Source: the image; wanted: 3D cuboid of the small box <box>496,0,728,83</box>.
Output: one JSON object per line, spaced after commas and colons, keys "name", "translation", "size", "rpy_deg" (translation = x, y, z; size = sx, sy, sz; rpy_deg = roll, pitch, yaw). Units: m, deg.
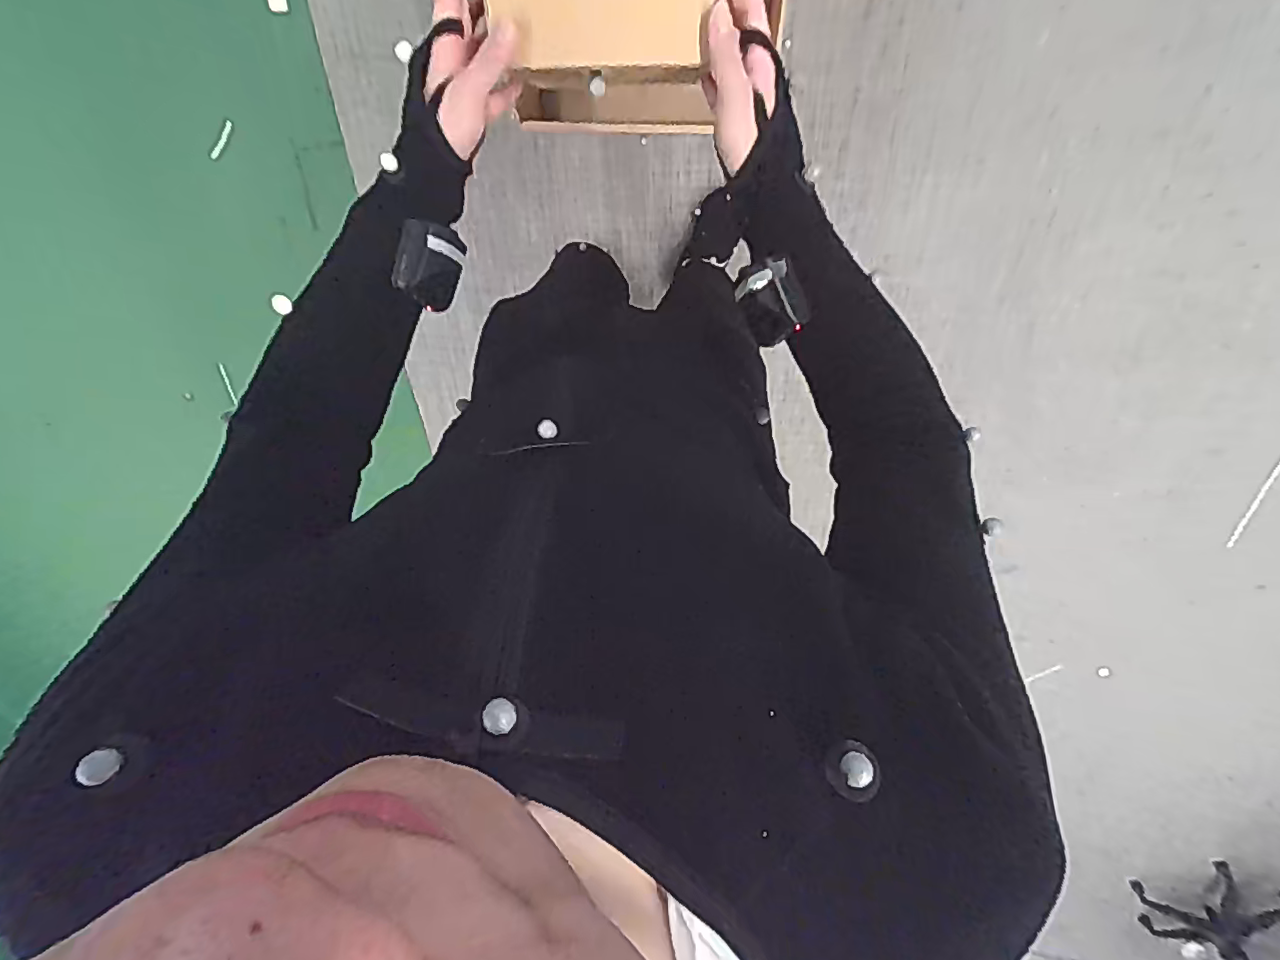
{"name": "small box", "translation": [-0.020, -0.437, 0.445], "size": [0.179, 0.176, 0.168], "rpy_deg": [1, 122, 1]}
